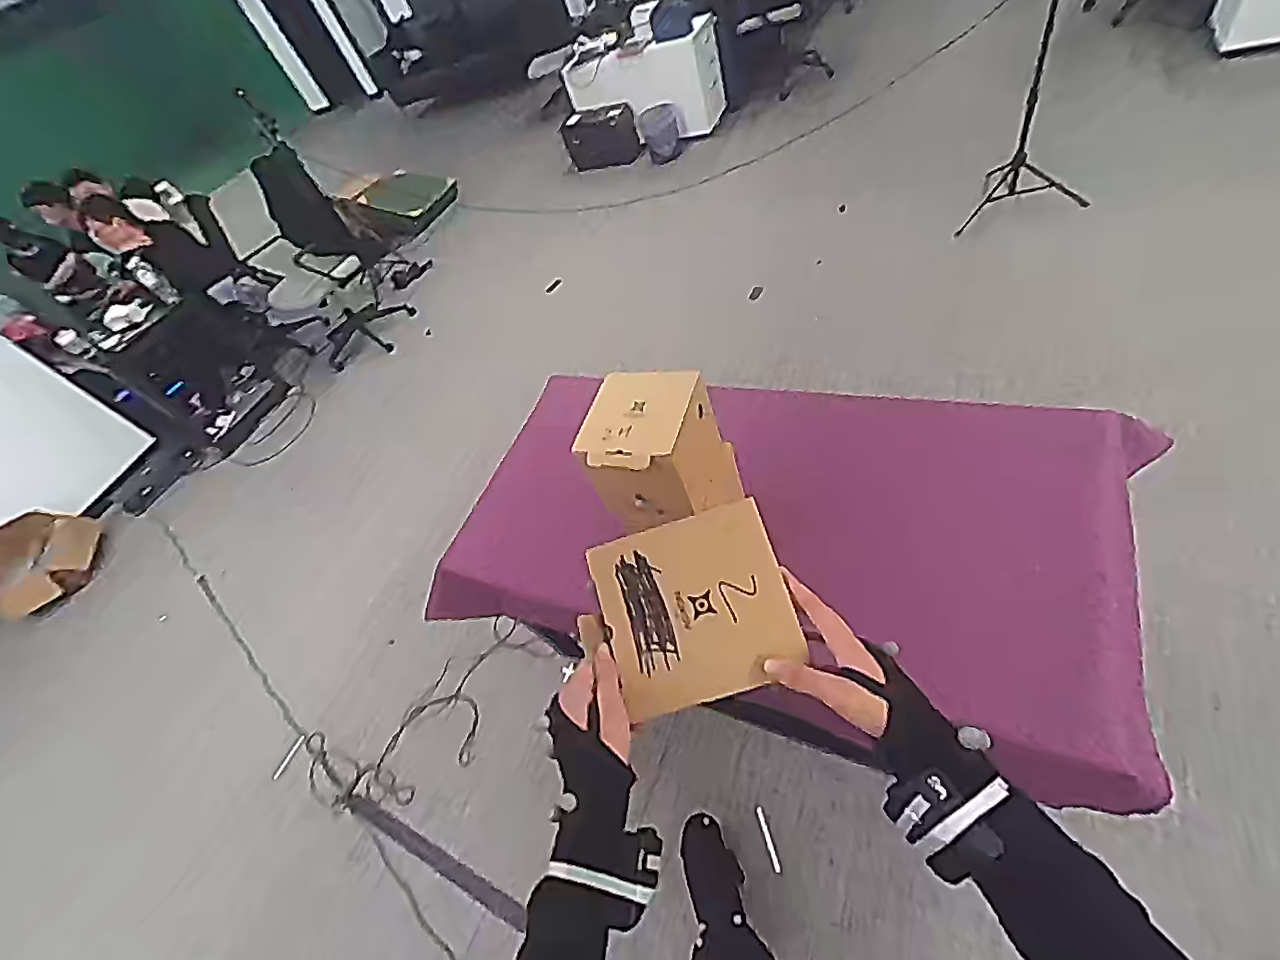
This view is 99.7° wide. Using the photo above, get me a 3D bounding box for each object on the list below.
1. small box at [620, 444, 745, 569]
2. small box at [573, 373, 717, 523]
[{"bbox_3d":[0.087,0.052,0.991,0.179,0.176,0.168,0,54,21],"label":"small box"},{"bbox_3d":[0.020,-0.053,0.881,0.168,0.176,0.179,4,55,25],"label":"small box"}]
